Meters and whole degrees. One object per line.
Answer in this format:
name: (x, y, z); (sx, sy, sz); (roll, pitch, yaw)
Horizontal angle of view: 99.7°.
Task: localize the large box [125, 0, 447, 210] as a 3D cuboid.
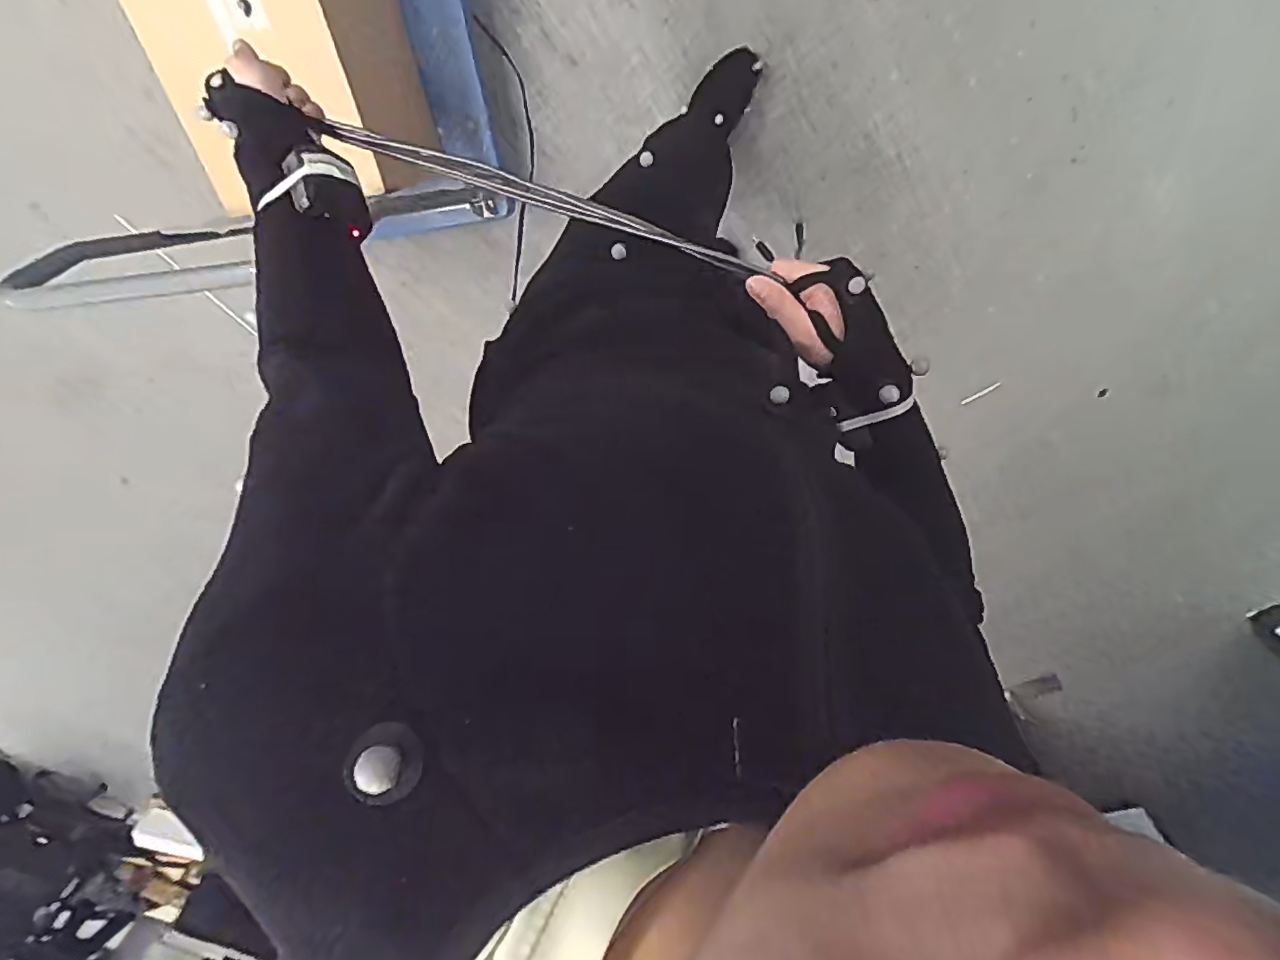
large box: (-0.604, -0.743, 0.971); (0.320, 0.320, 0.408); (-4, 123, 7)
